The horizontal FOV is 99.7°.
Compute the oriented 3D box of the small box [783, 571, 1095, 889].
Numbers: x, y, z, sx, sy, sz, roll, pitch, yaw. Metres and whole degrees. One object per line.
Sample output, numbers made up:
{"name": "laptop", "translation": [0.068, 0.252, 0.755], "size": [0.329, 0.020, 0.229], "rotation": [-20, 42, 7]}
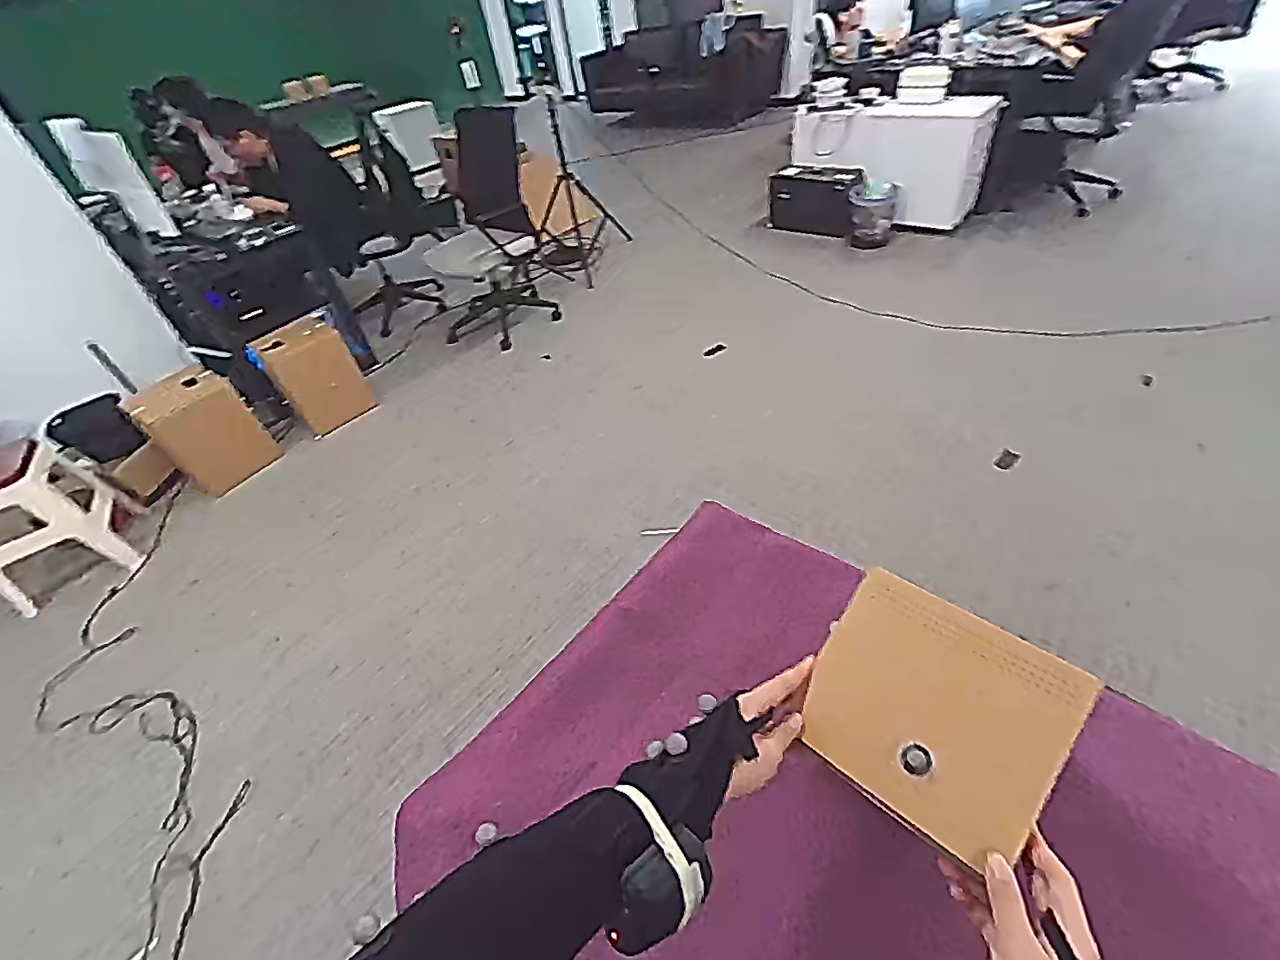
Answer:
{"name": "small box", "translation": [0.256, 0.210, 0.486], "size": [0.179, 0.168, 0.176], "rotation": [30, 76, 33]}
